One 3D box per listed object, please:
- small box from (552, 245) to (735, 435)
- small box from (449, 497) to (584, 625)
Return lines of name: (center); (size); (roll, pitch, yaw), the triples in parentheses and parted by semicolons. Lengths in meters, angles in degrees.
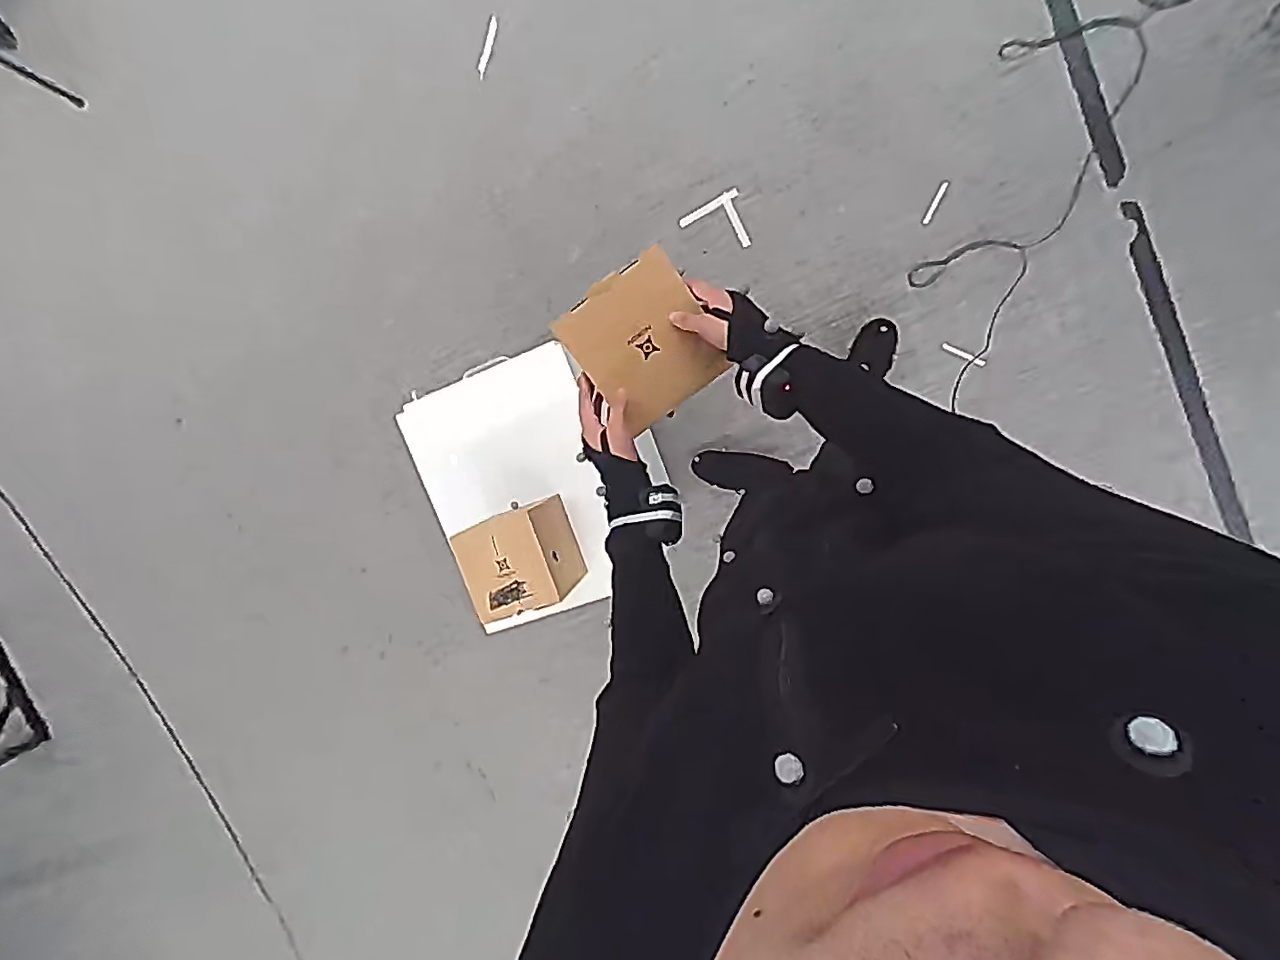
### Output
small box: (0.002, -0.185, 0.746); (0.168, 0.176, 0.179); (-36, 100, 3)
small box: (-0.226, 0.148, 1.038); (0.168, 0.176, 0.179); (-19, 94, 13)
